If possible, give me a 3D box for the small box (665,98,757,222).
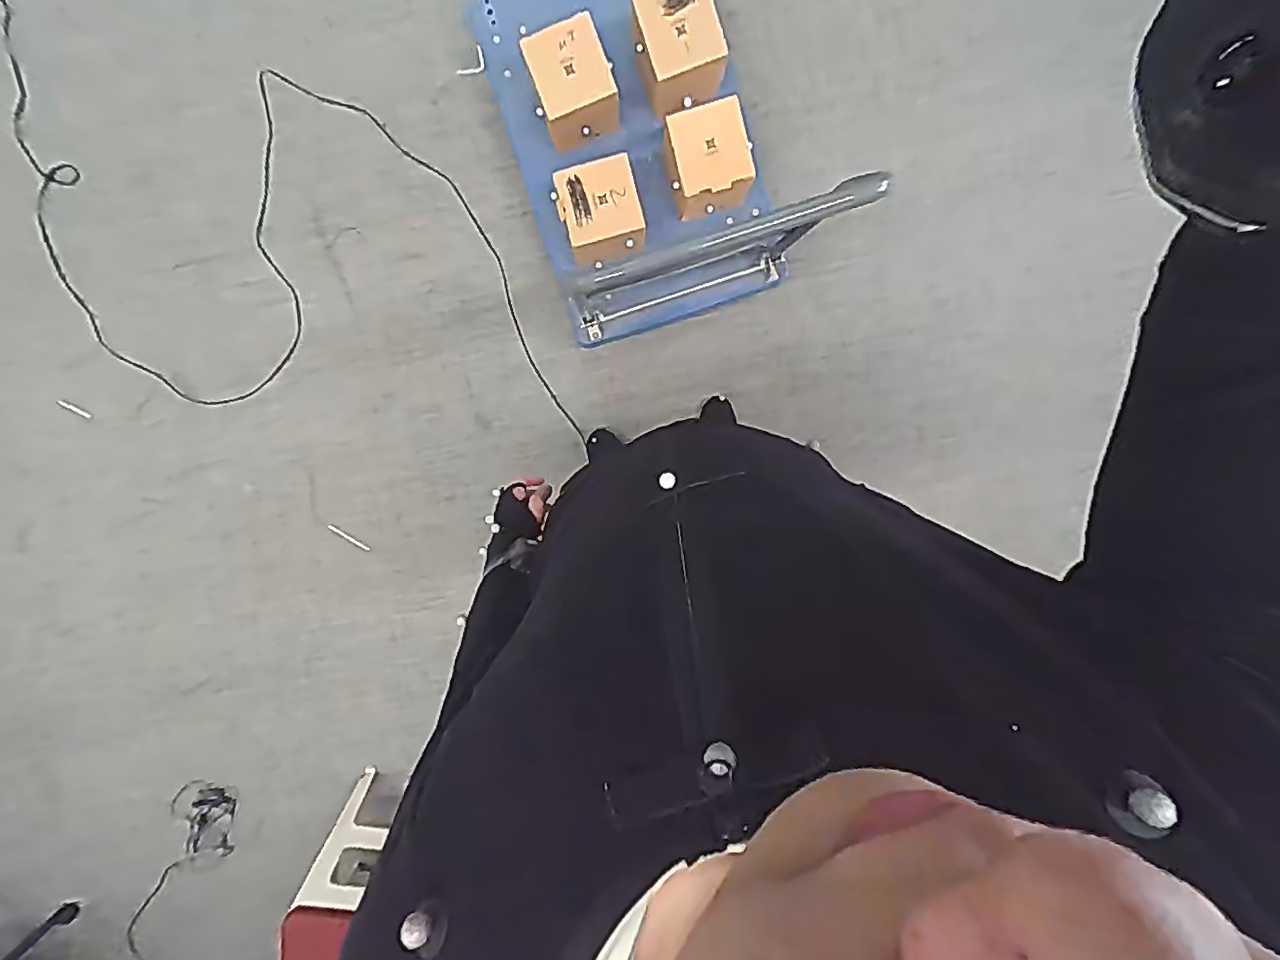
[{"bbox_3d":[0.160,-0.743,1.272,0.168,0.176,0.179,-16,96,2],"label":"small box"}]

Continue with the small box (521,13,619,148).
[{"bbox_3d":[-0.152,-0.903,1.248,0.168,0.176,0.179,-21,97,2],"label":"small box"}]

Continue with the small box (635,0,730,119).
[{"bbox_3d":[0.091,-0.980,1.237,0.168,0.176,0.179,-19,98,3],"label":"small box"}]
